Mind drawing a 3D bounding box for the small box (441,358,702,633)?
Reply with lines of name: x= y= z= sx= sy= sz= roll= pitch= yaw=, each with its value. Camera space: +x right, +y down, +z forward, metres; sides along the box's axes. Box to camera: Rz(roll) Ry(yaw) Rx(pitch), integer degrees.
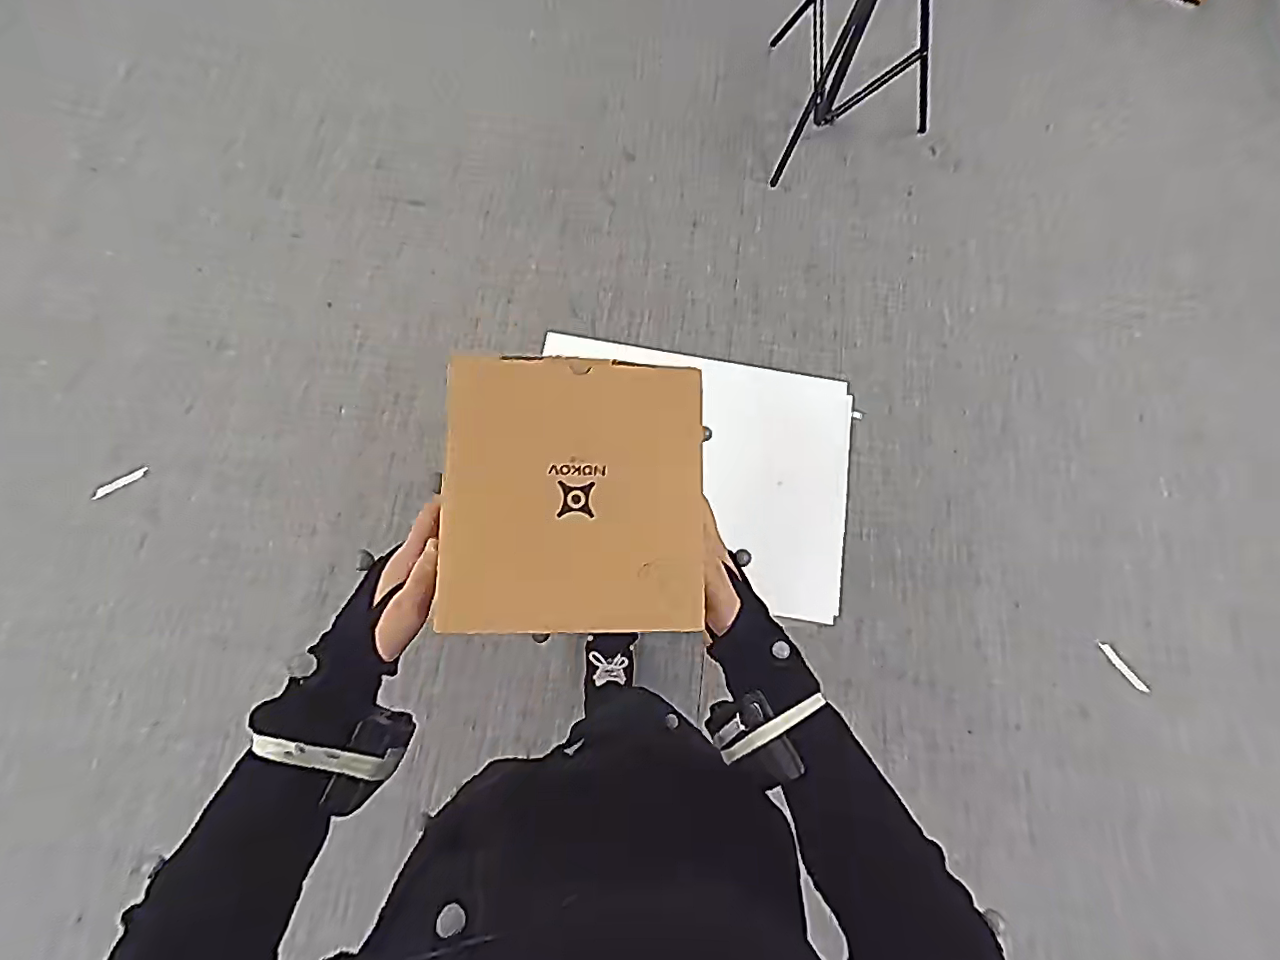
small box: x=-0.049 y=0.019 z=0.426 sx=0.168 sy=0.176 sz=0.179 roll=0 pitch=81 yaw=-7
